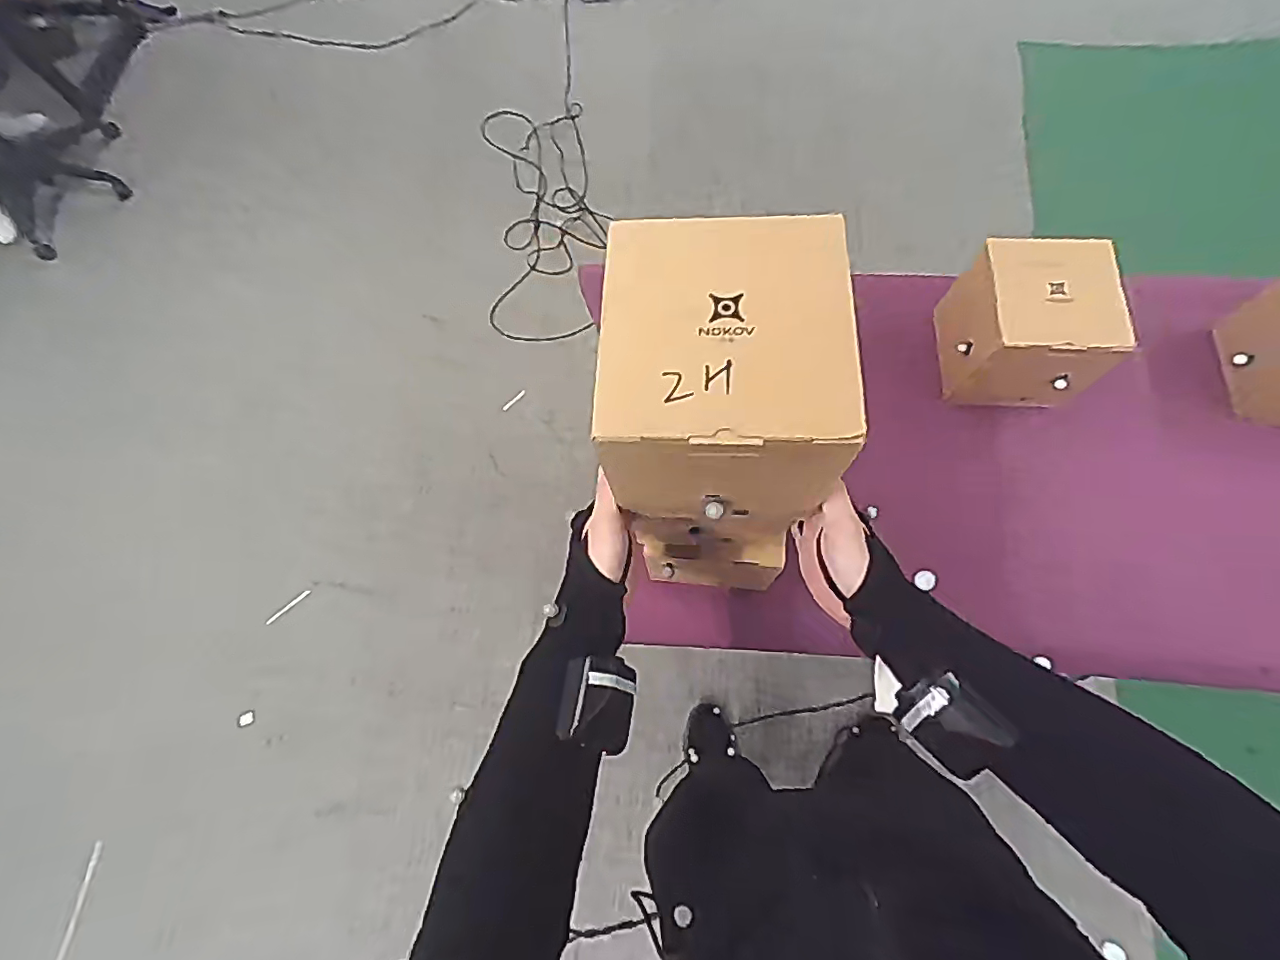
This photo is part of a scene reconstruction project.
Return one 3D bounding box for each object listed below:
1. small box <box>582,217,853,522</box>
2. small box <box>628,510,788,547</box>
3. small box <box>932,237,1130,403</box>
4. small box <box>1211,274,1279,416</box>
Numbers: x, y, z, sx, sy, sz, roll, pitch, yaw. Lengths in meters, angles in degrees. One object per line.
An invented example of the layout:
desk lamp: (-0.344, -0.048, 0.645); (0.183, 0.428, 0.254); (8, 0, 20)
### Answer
small box: (0.056, -0.076, 0.428); (0.168, 0.176, 0.179); (1, 70, 6)
small box: (0.071, -0.034, 0.589); (0.168, 0.176, 0.179); (2, 71, 6)
small box: (0.553, -0.226, 0.793); (0.168, 0.176, 0.179); (3, 71, 5)
small box: (0.965, -0.192, 0.746); (0.168, 0.176, 0.179); (4, 72, 6)
